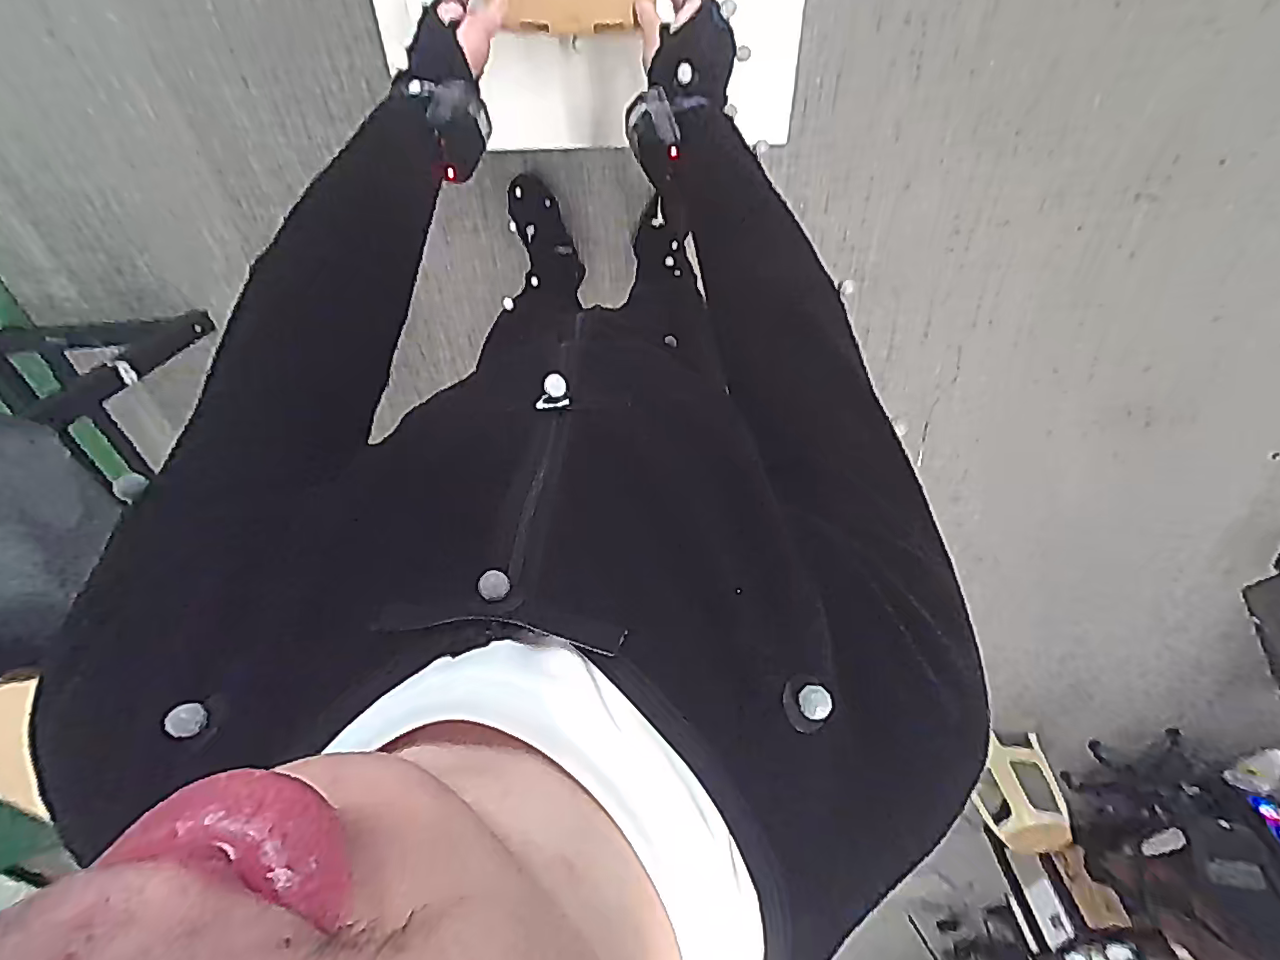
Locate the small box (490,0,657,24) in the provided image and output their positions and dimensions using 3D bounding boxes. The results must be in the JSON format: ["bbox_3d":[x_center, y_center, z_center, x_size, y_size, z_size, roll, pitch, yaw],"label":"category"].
[{"bbox_3d":[-0.064,-0.569,0.536,0.168,0.176,0.179,-2,127,0],"label":"small box"}]
